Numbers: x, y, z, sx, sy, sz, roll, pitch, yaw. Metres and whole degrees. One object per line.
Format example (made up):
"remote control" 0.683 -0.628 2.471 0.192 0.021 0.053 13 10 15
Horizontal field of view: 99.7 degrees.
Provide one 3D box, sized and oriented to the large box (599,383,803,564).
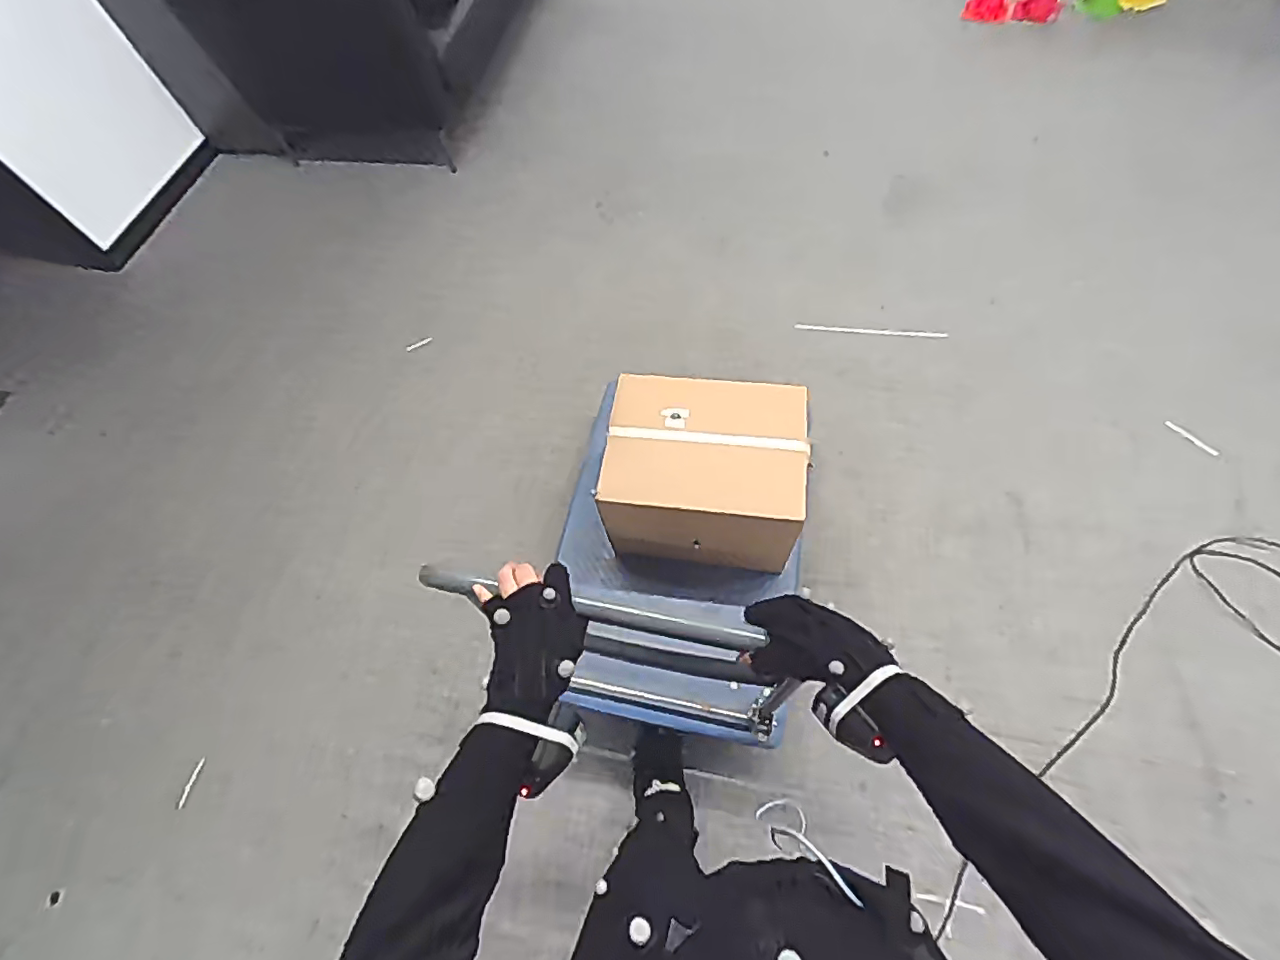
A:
"large box" 0.147 -0.006 1.248 0.408 0.320 0.320 4 63 9
